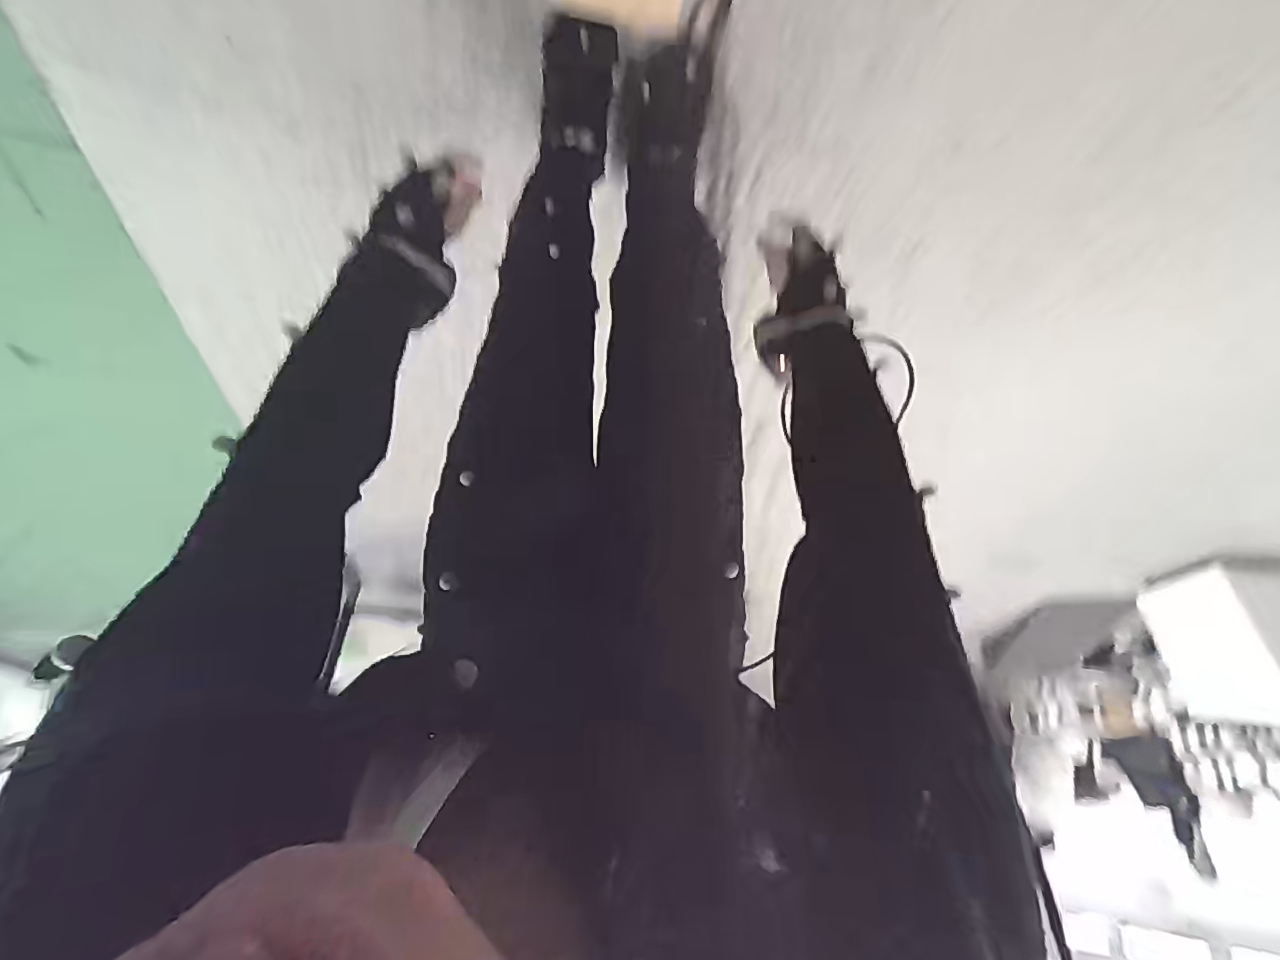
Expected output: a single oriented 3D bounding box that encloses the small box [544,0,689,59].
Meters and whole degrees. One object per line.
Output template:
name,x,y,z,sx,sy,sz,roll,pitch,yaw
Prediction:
small box,-0.019,-0.680,0.681,0.179,0.176,0.168,8,147,-10
